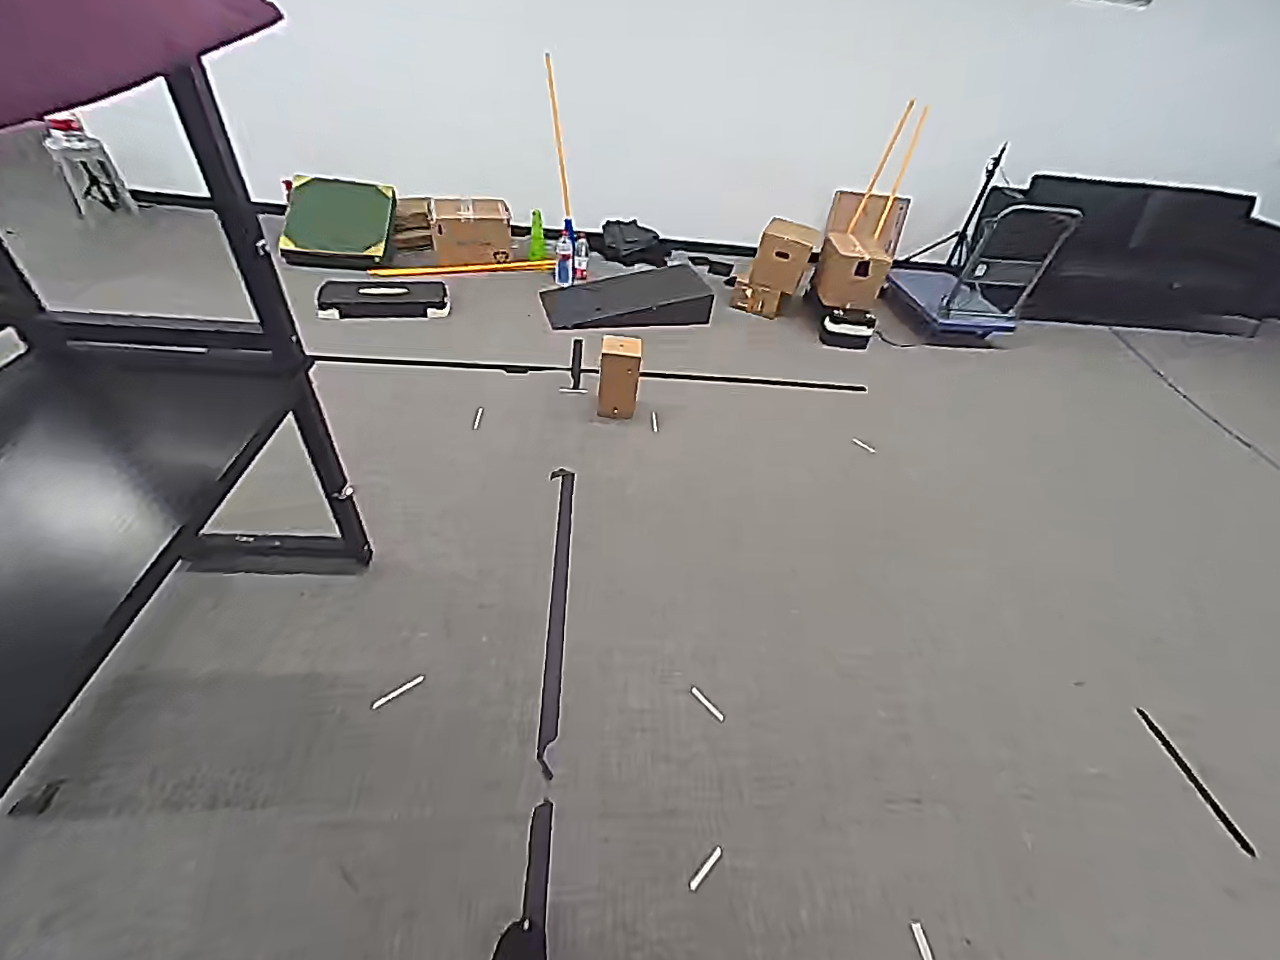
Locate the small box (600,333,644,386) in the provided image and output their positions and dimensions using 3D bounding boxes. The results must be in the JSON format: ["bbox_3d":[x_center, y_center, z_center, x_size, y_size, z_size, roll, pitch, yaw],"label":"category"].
[{"bbox_3d":[-0.079,-0.535,2.414,0.179,0.176,0.168,5,42,-3],"label":"small box"}]

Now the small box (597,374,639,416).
[{"bbox_3d":[-0.104,-0.417,2.525,0.179,0.176,0.168,4,42,-7],"label":"small box"}]
